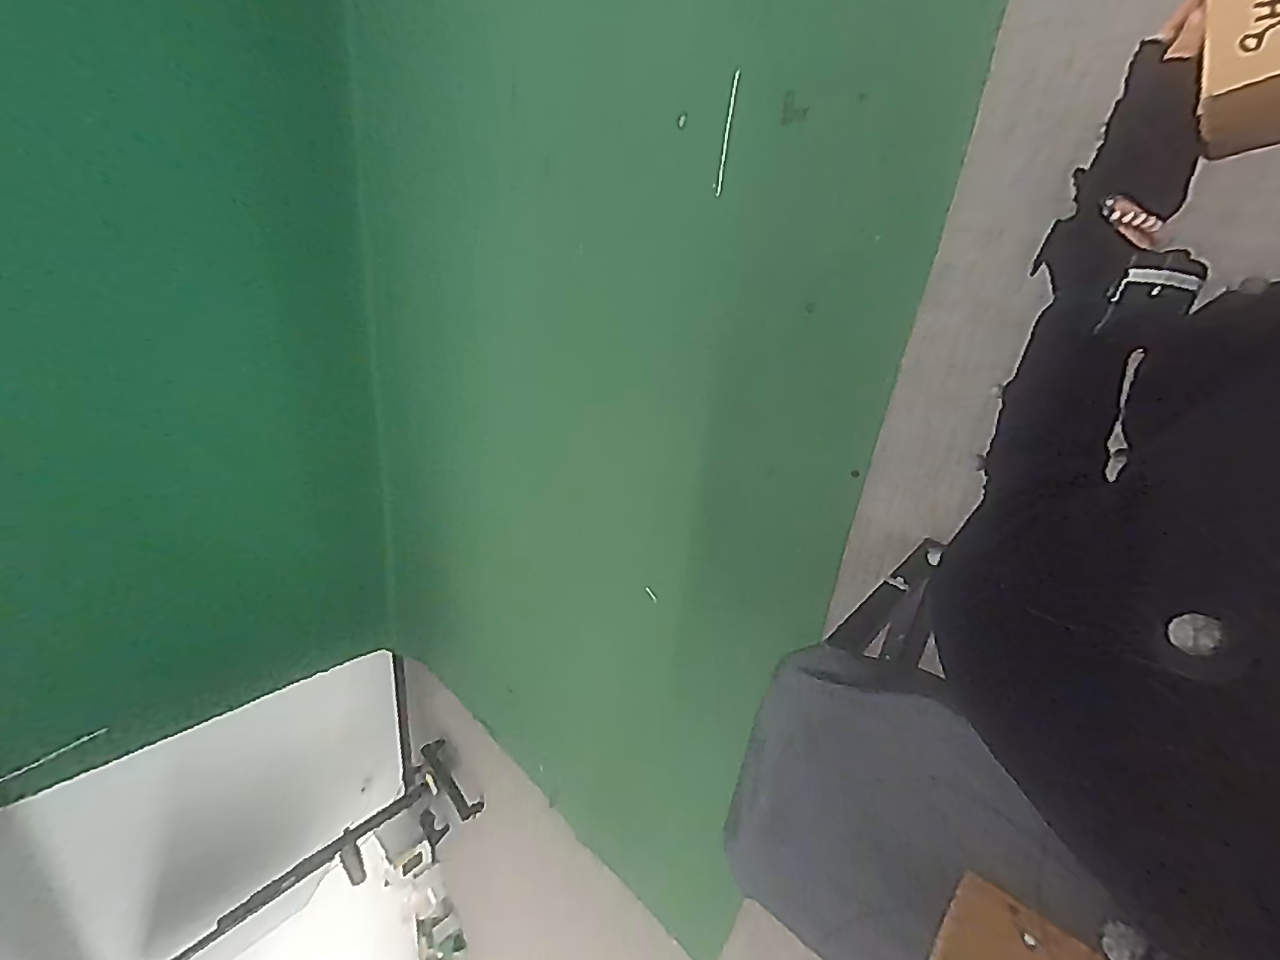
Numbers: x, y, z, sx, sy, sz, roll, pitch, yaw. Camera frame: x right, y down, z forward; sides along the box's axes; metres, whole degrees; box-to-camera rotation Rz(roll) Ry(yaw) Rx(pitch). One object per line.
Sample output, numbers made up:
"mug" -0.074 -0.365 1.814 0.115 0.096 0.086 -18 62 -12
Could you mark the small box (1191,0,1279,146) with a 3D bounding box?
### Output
"small box" 0.444 -0.324 0.306 0.179 0.176 0.168 4 103 45
